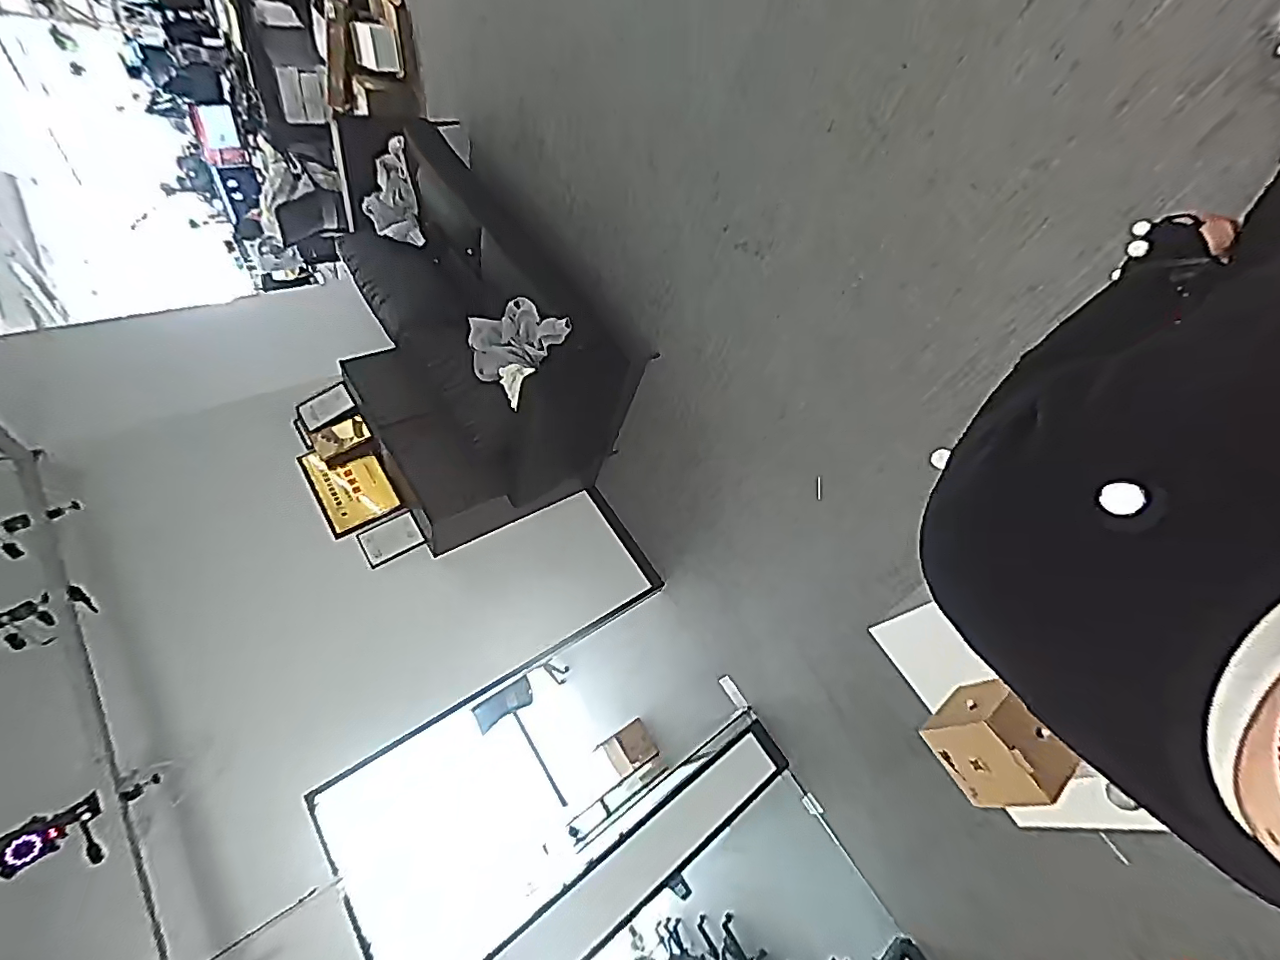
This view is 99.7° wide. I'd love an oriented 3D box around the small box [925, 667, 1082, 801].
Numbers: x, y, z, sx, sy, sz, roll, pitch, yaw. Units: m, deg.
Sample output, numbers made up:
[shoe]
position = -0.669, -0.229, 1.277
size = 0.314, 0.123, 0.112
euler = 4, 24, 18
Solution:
[small box]
position = 0.717, 0.495, 1.061
size = 0.168, 0.176, 0.179
euler = 54, 148, 18
